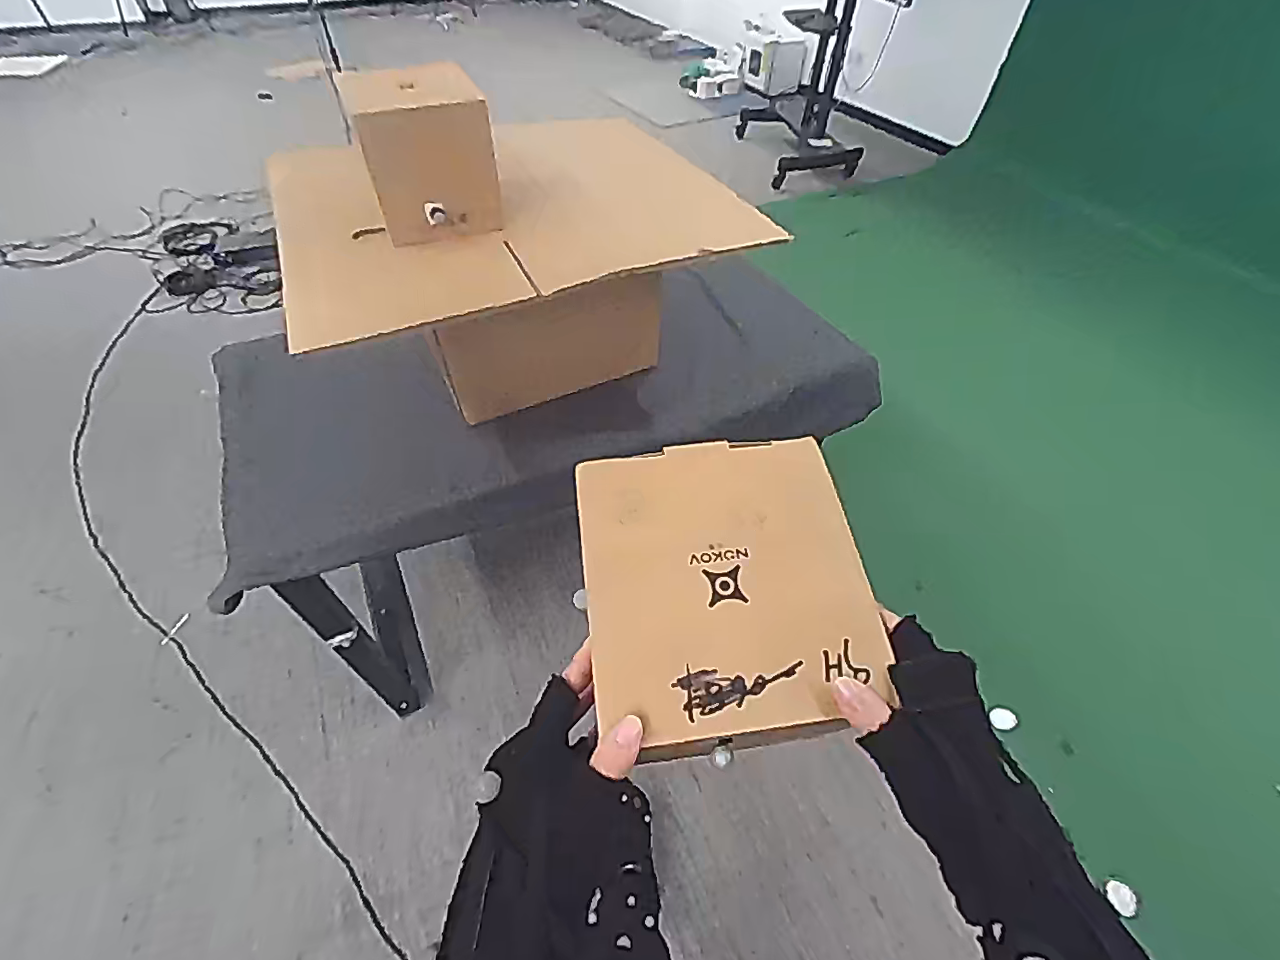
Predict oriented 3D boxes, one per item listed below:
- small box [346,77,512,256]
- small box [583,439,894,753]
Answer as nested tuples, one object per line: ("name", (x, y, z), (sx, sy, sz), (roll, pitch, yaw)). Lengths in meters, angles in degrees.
("small box", (-0.298, -0.451, 0.779), (0.168, 0.176, 0.179), (-20, 54, -17))
("small box", (0.050, 0.093, 0.402), (0.168, 0.176, 0.179), (-7, 61, -3))
